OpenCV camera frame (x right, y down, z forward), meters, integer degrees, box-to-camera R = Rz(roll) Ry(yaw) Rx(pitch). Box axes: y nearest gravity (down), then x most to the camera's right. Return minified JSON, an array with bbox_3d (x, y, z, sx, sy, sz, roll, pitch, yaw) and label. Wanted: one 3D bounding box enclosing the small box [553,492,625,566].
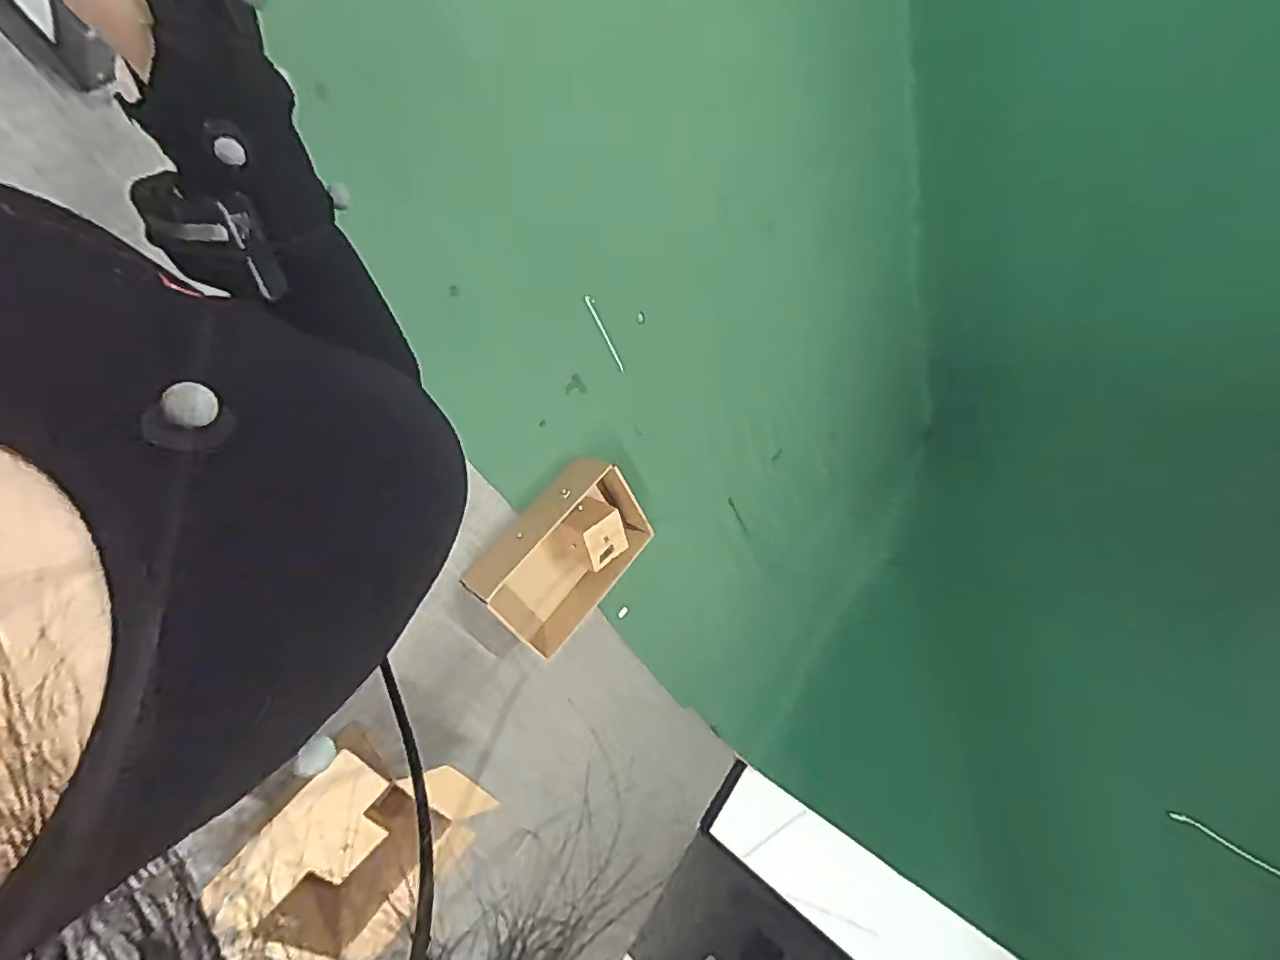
[{"bbox_3d":[-0.181,0.168,1.922,0.168,0.176,0.179,-35,128,-31],"label":"small box"}]
